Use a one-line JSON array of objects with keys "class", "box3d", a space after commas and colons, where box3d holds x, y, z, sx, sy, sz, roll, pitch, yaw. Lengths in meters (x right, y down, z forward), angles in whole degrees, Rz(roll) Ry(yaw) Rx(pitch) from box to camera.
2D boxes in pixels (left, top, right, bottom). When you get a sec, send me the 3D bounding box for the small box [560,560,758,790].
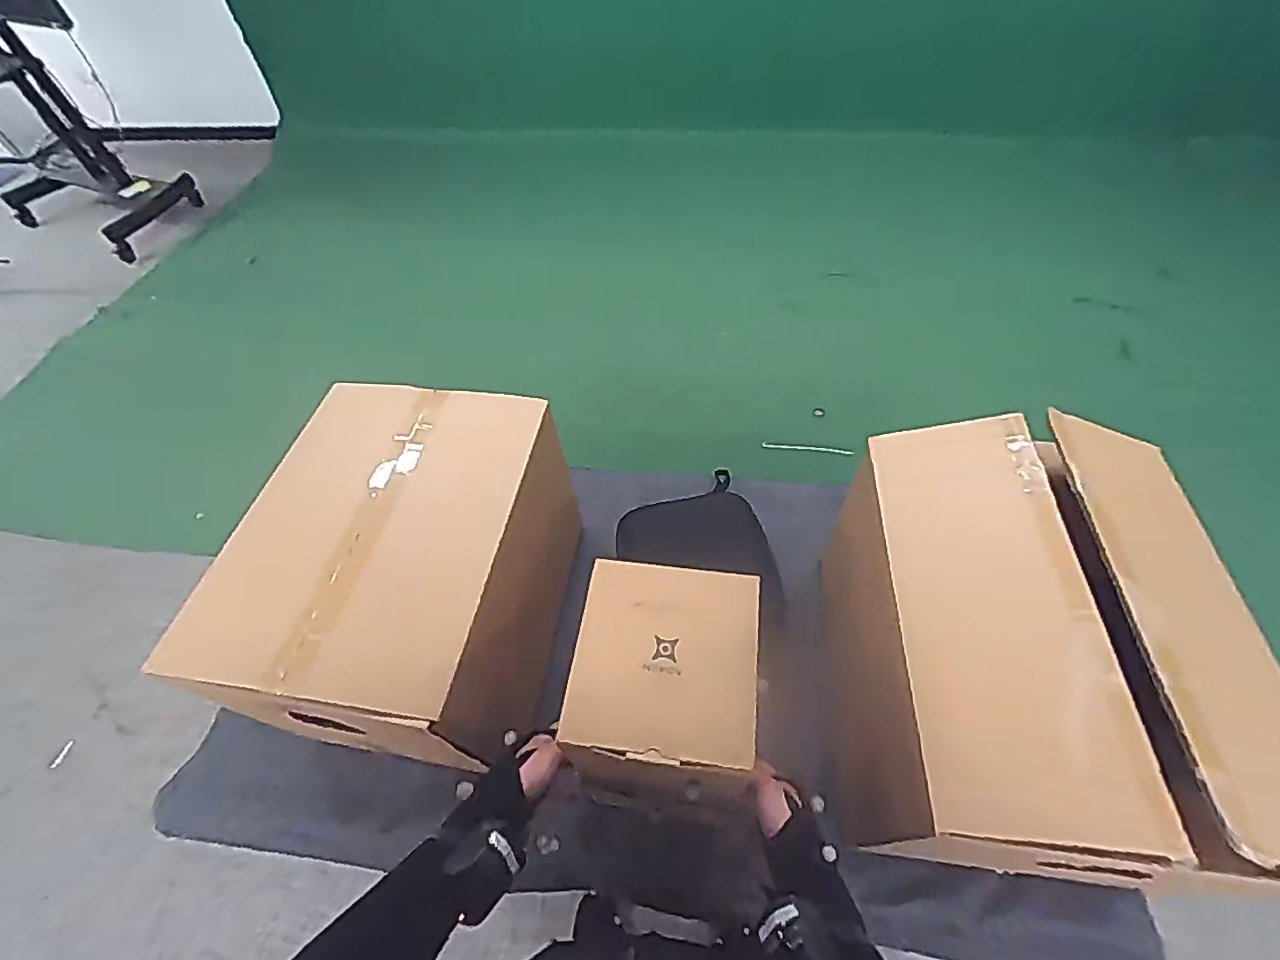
[{"class": "small box", "box3d": [0.027, 0.206, 0.559, 0.168, 0.176, 0.179, 6, 54, 6]}]
